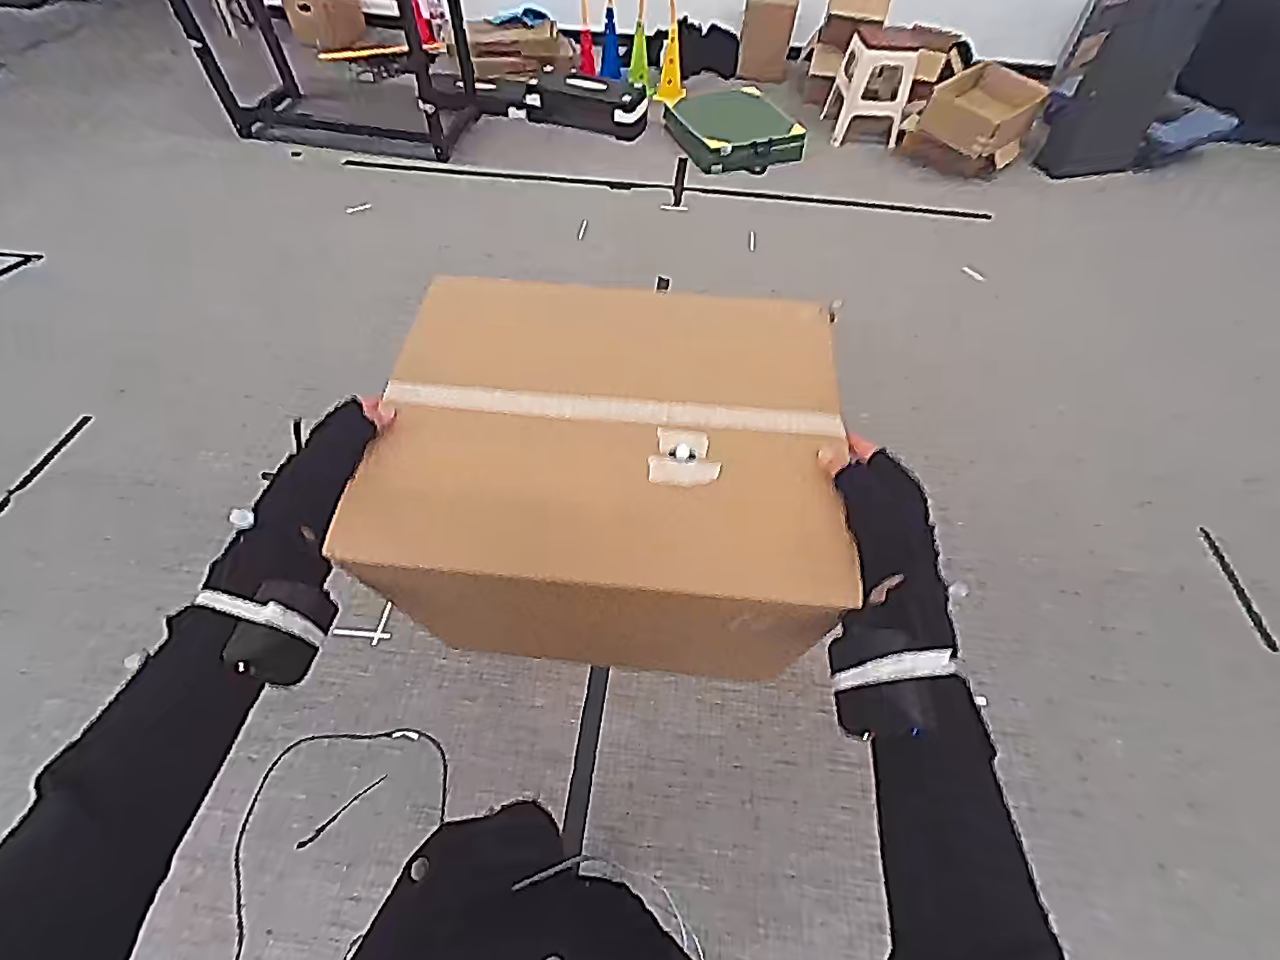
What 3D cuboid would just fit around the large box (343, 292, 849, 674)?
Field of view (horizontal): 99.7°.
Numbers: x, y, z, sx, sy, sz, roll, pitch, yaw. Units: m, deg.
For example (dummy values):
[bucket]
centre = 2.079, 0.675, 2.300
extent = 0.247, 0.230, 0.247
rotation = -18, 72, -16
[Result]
[large box]
centre = -0.028, 0.020, 0.618
extent = 0.408, 0.320, 0.320
rotation = 5, 61, 2
